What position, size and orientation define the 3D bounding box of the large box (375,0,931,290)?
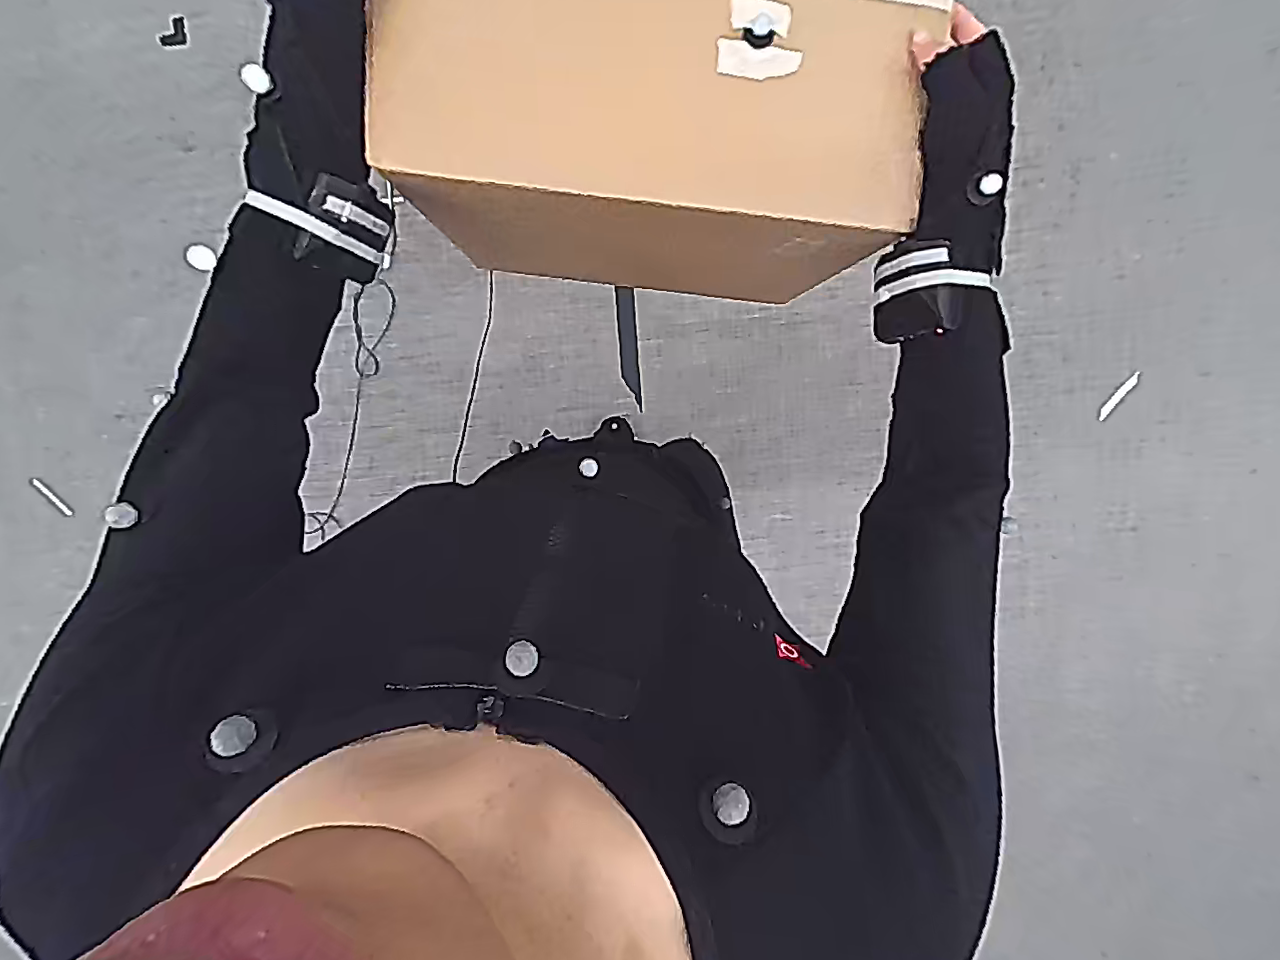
[{"bbox_3d":[0.008,-0.389,0.529,0.408,0.320,0.320,4,98,-4],"label":"large box"}]
